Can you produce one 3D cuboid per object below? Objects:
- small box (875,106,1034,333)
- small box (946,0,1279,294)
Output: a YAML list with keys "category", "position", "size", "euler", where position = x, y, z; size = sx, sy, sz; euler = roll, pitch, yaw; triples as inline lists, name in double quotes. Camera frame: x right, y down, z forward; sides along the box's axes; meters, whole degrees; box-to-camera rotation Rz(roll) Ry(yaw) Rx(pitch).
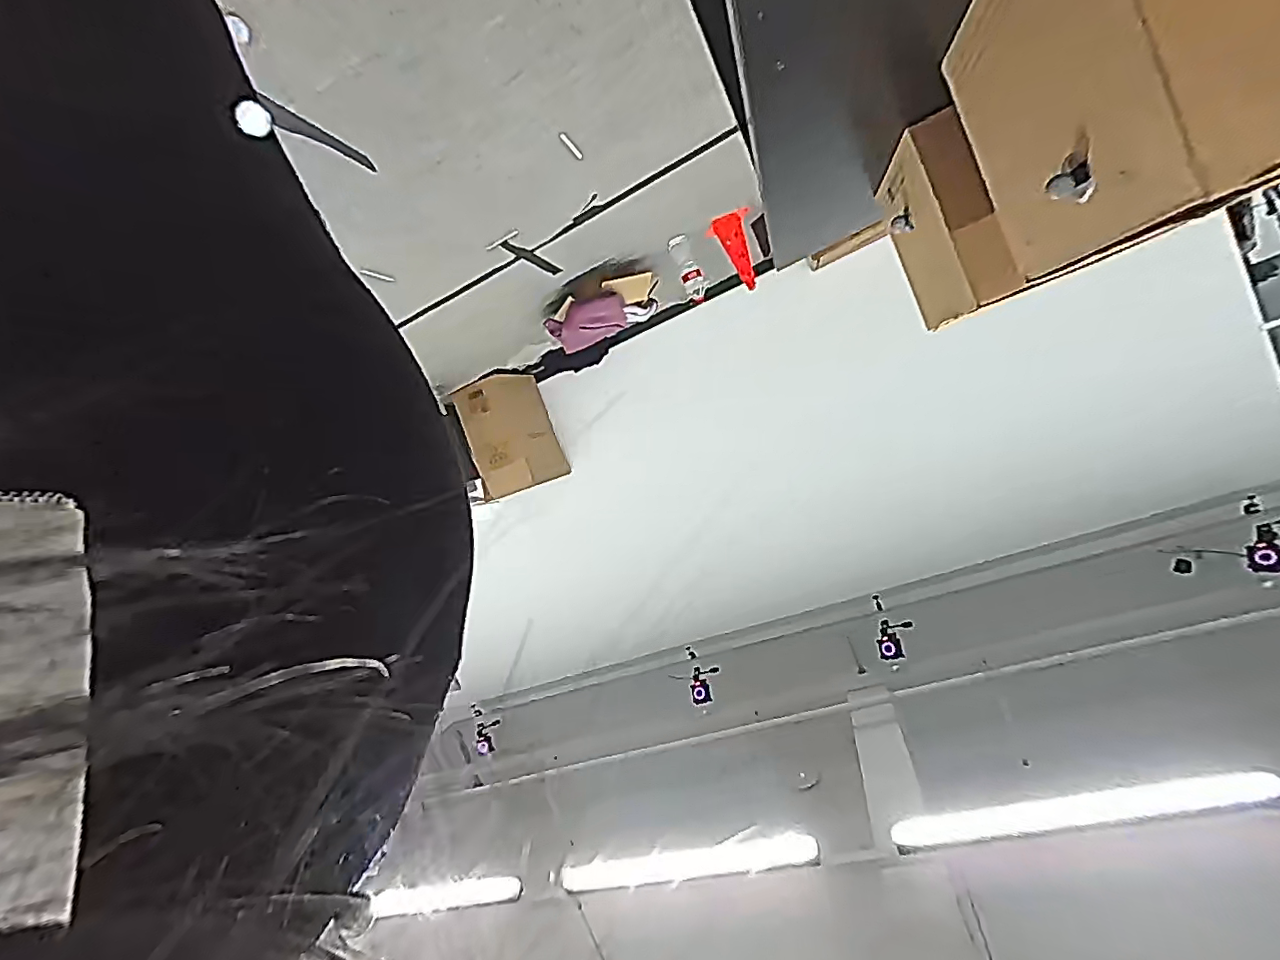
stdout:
- category: "small box"
  position: [0.352, -0.262, 0.512]
  size: [0.179, 0.176, 0.168]
  euler: [-22, -178, 16]
- category: "small box"
  position: [0.289, -0.226, 0.278]
  size: [0.168, 0.176, 0.179]
  euler: [-23, -178, 16]
